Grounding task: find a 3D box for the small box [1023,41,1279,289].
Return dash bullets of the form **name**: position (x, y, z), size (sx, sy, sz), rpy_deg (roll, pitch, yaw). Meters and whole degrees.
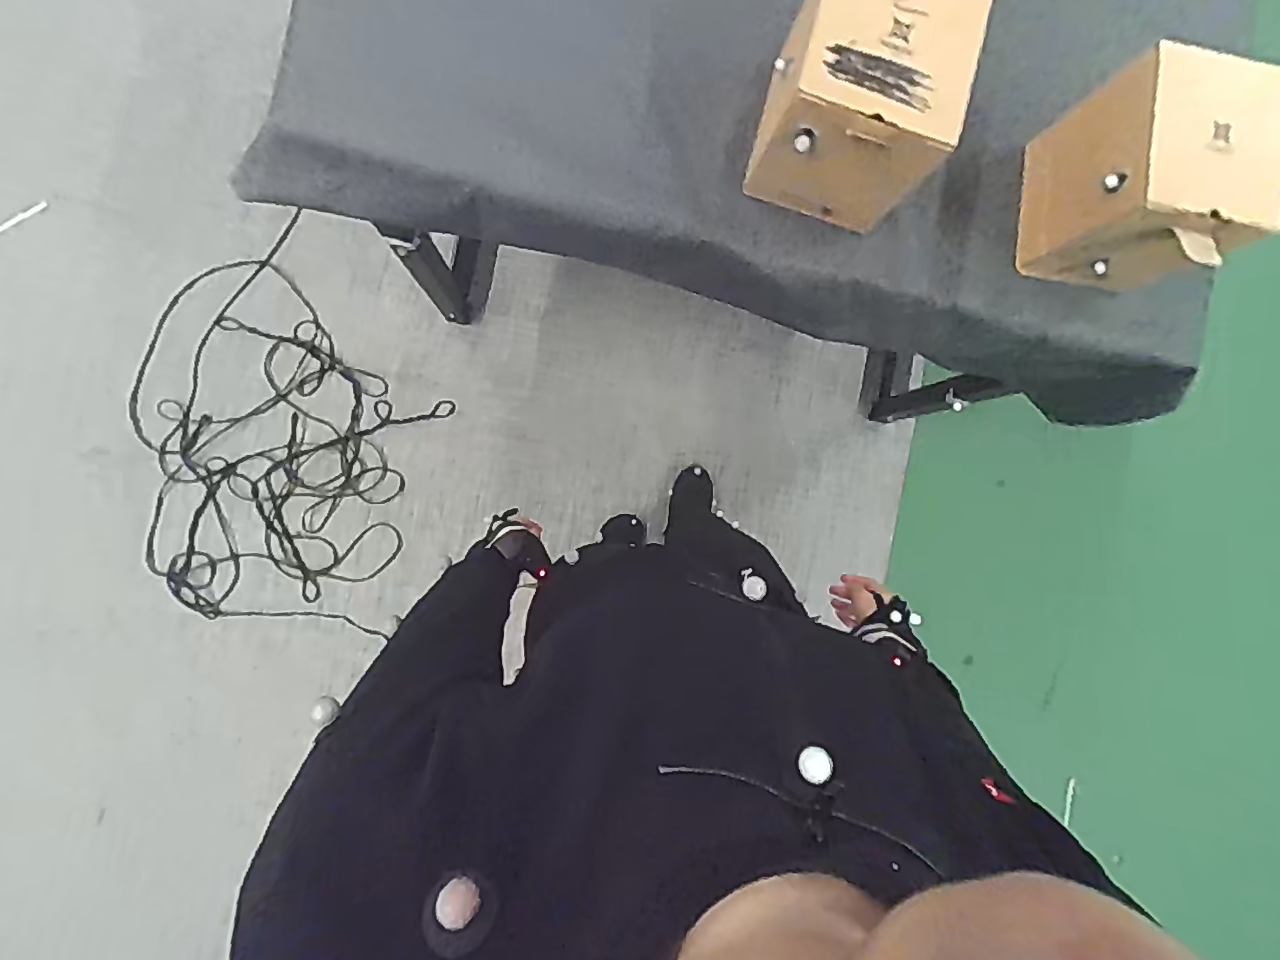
- **small box**: position (0.591, -0.350, 0.634), size (0.168, 0.176, 0.179), rpy_deg (7, 88, -6)
